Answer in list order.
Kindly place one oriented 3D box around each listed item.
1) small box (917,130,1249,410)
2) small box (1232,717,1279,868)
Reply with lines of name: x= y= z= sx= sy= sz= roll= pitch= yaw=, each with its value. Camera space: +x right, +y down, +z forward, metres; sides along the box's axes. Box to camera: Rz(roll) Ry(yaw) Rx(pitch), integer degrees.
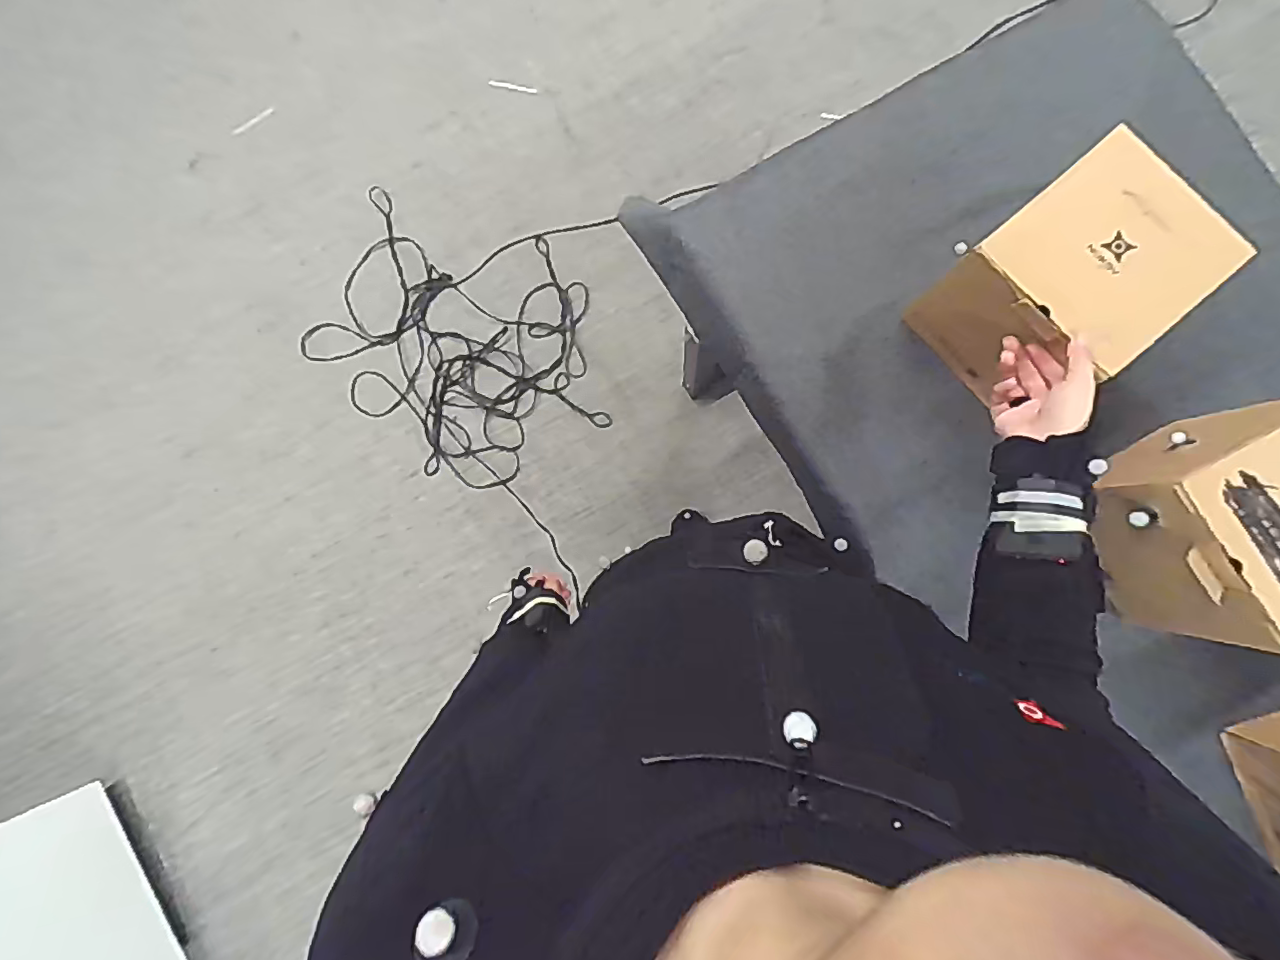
small box: x=0.424 y=-0.196 z=0.561 sx=0.179 sy=0.176 sz=0.168 roll=-41 pitch=85 yaw=-2
small box: x=0.736 y=0.317 z=0.497 sx=0.179 sy=0.176 sz=0.168 roll=-19 pitch=84 yaw=3
